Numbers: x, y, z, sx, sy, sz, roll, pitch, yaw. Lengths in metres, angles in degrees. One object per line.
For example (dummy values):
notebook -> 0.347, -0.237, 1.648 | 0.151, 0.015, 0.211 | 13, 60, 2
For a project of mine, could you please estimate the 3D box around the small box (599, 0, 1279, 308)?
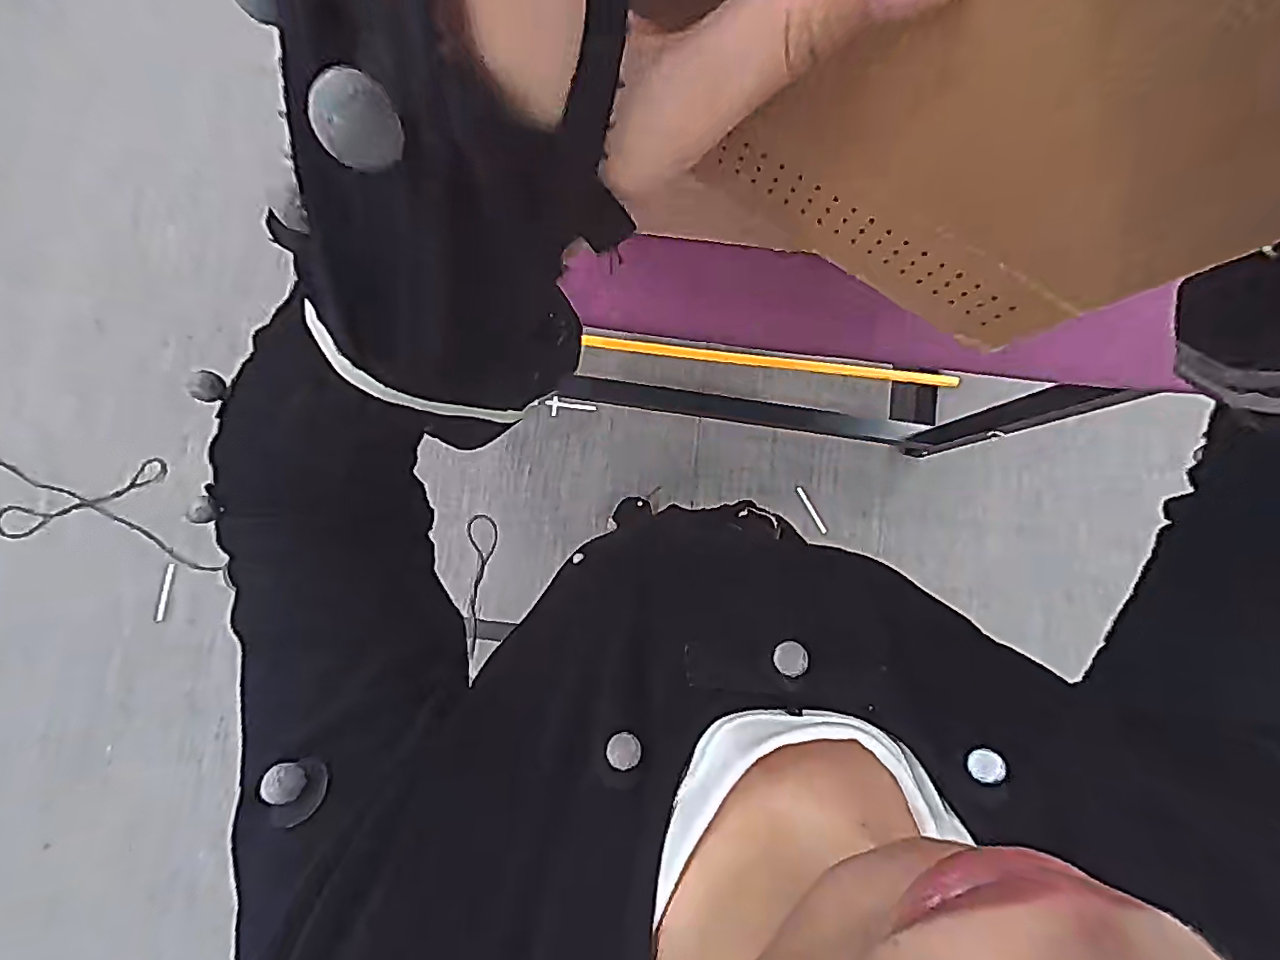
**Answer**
small box -> 0.098, -0.163, 0.110 | 0.179, 0.176, 0.168 | 30, 89, -1
